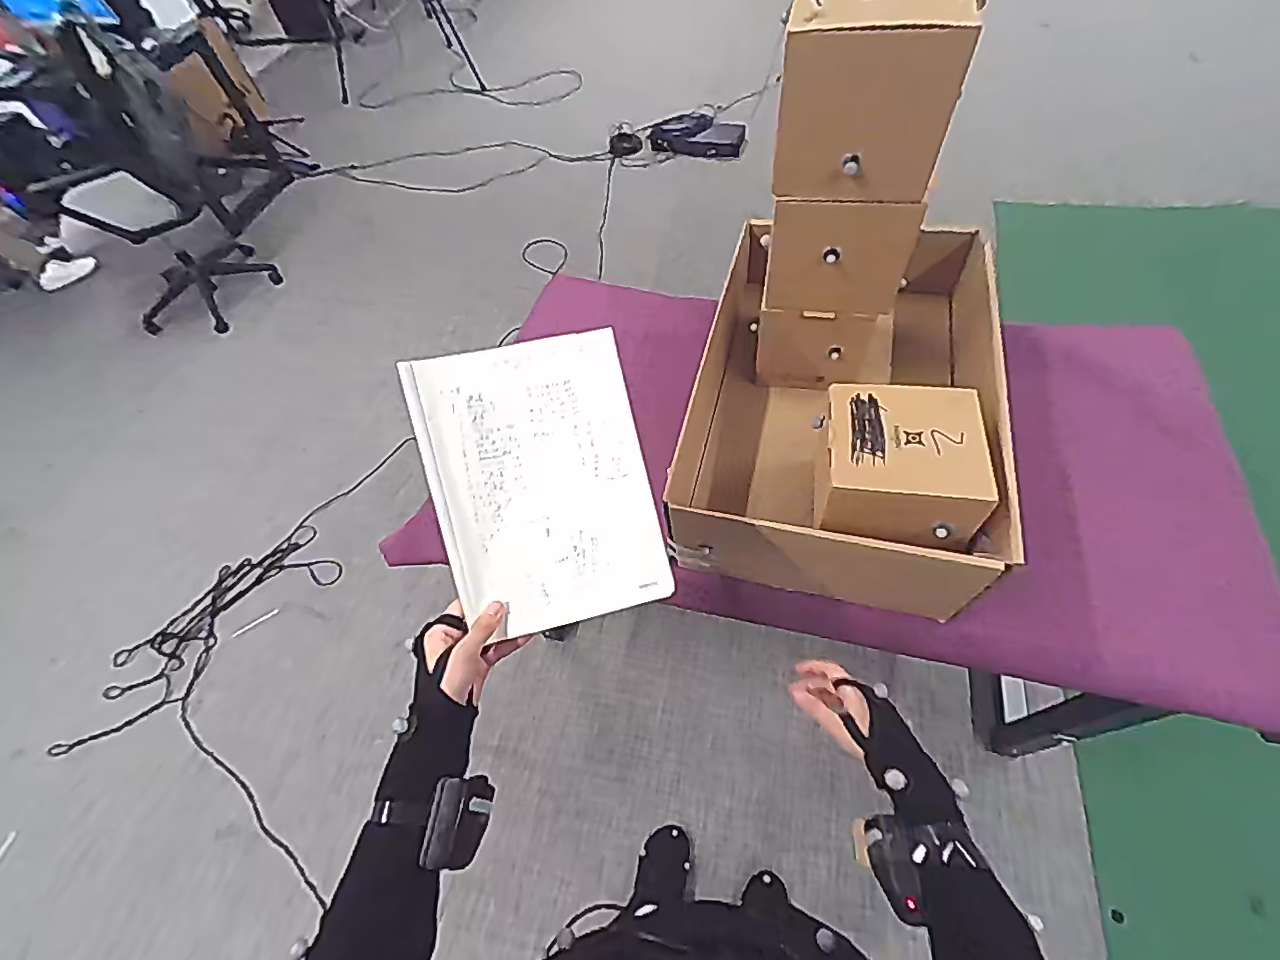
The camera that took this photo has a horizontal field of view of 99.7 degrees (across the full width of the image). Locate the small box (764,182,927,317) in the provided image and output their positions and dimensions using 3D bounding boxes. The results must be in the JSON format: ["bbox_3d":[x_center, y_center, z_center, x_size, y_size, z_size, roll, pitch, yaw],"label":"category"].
[{"bbox_3d":[0.275,-0.346,0.751,0.179,0.176,0.168,7,58,12],"label":"small box"}]

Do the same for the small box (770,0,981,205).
[{"bbox_3d":[0.255,-0.439,0.617,0.179,0.176,0.168,10,59,12],"label":"small box"}]
